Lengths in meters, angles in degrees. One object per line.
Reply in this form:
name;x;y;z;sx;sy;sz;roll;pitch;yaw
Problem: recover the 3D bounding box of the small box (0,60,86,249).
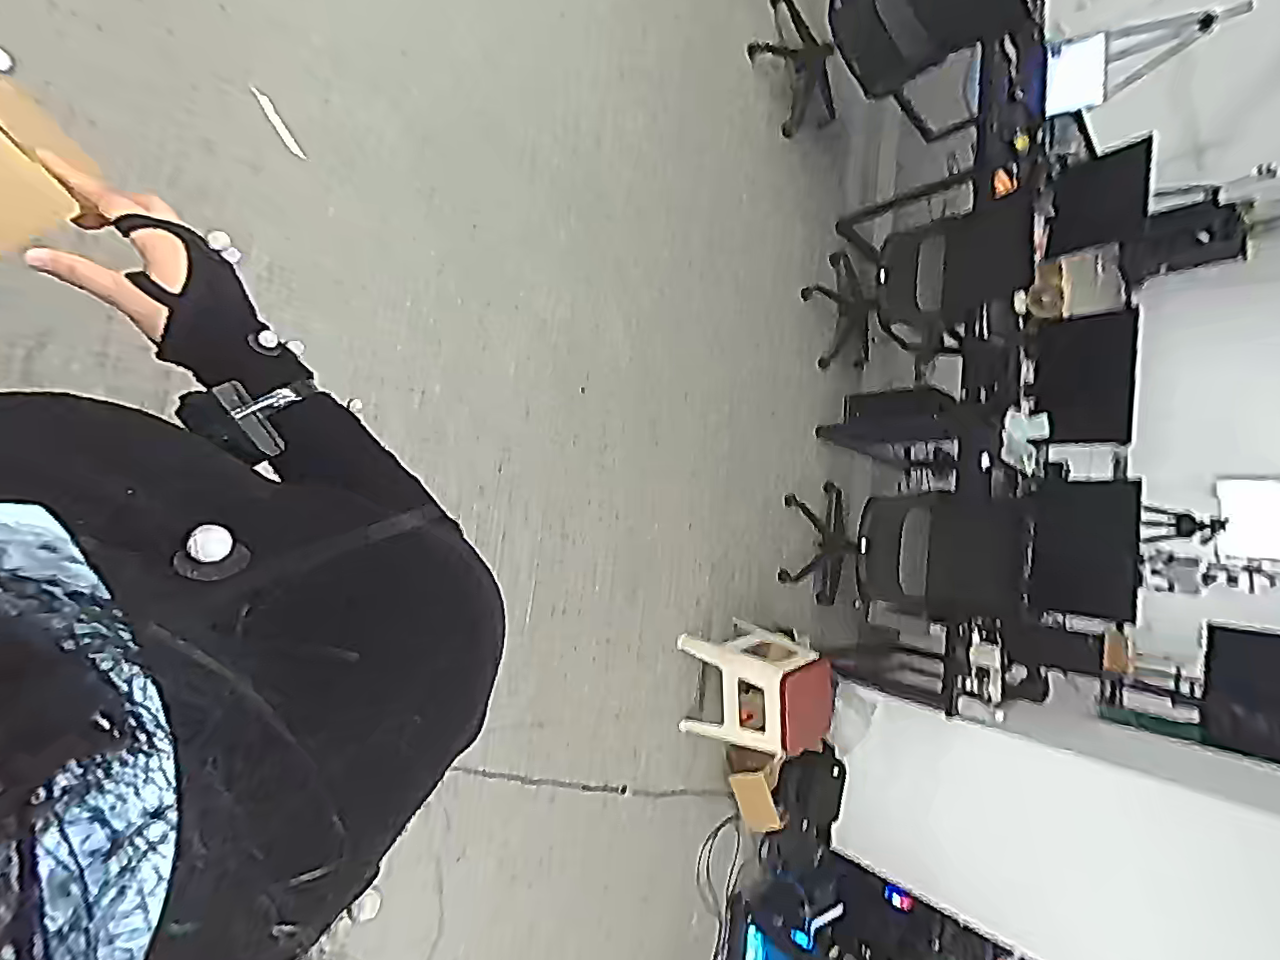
small box;-0.500;-0.222;0.331;0.179;0.176;0.168;-38;140;-12
